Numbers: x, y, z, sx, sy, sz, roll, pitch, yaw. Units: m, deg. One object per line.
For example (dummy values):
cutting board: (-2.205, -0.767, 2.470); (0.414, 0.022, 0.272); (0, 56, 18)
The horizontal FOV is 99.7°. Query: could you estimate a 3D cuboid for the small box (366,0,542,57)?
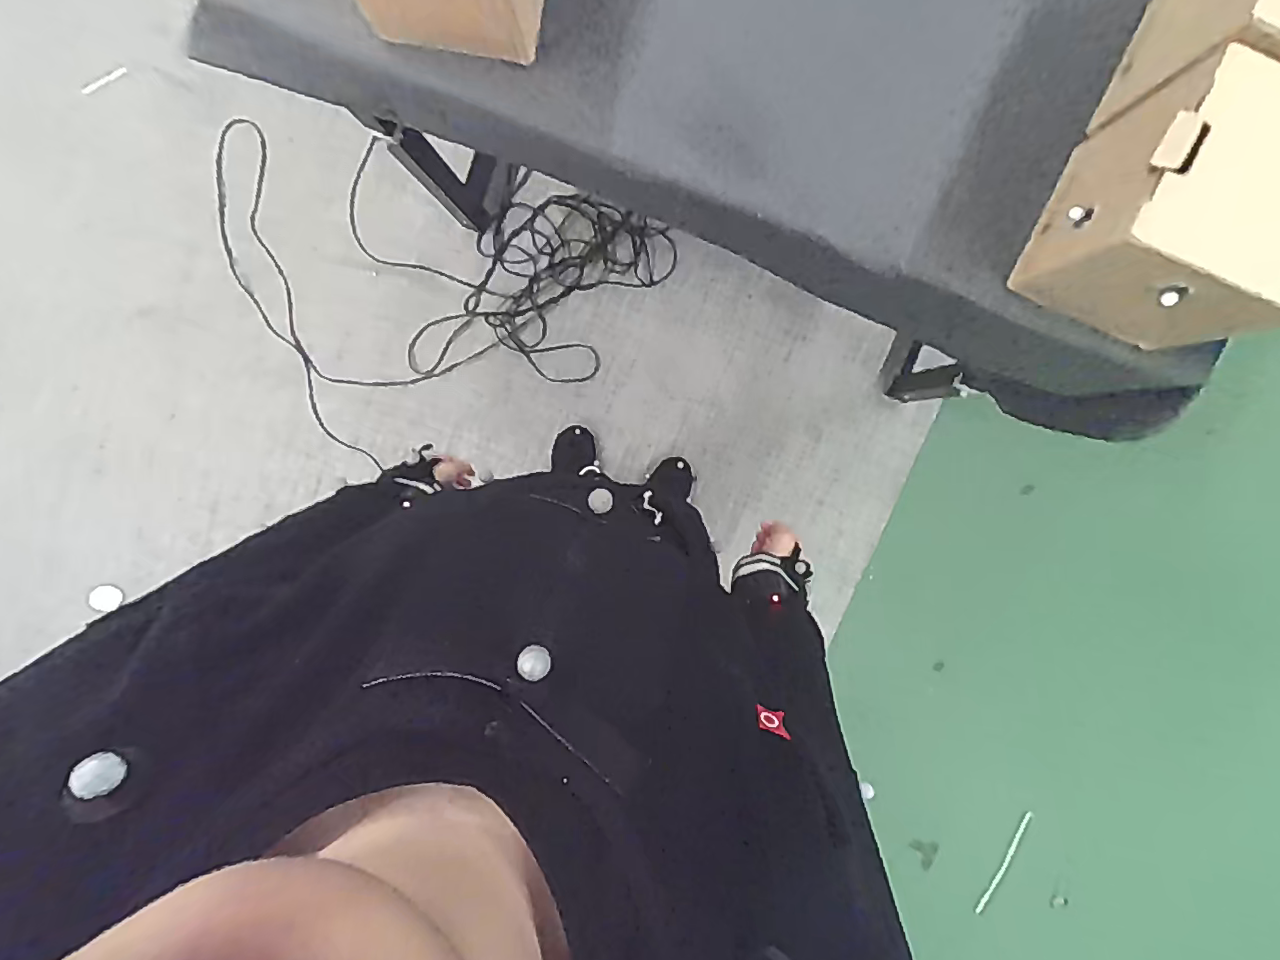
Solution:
small box: (-0.183, -0.548, 0.510); (0.179, 0.176, 0.168); (11, 94, 1)
